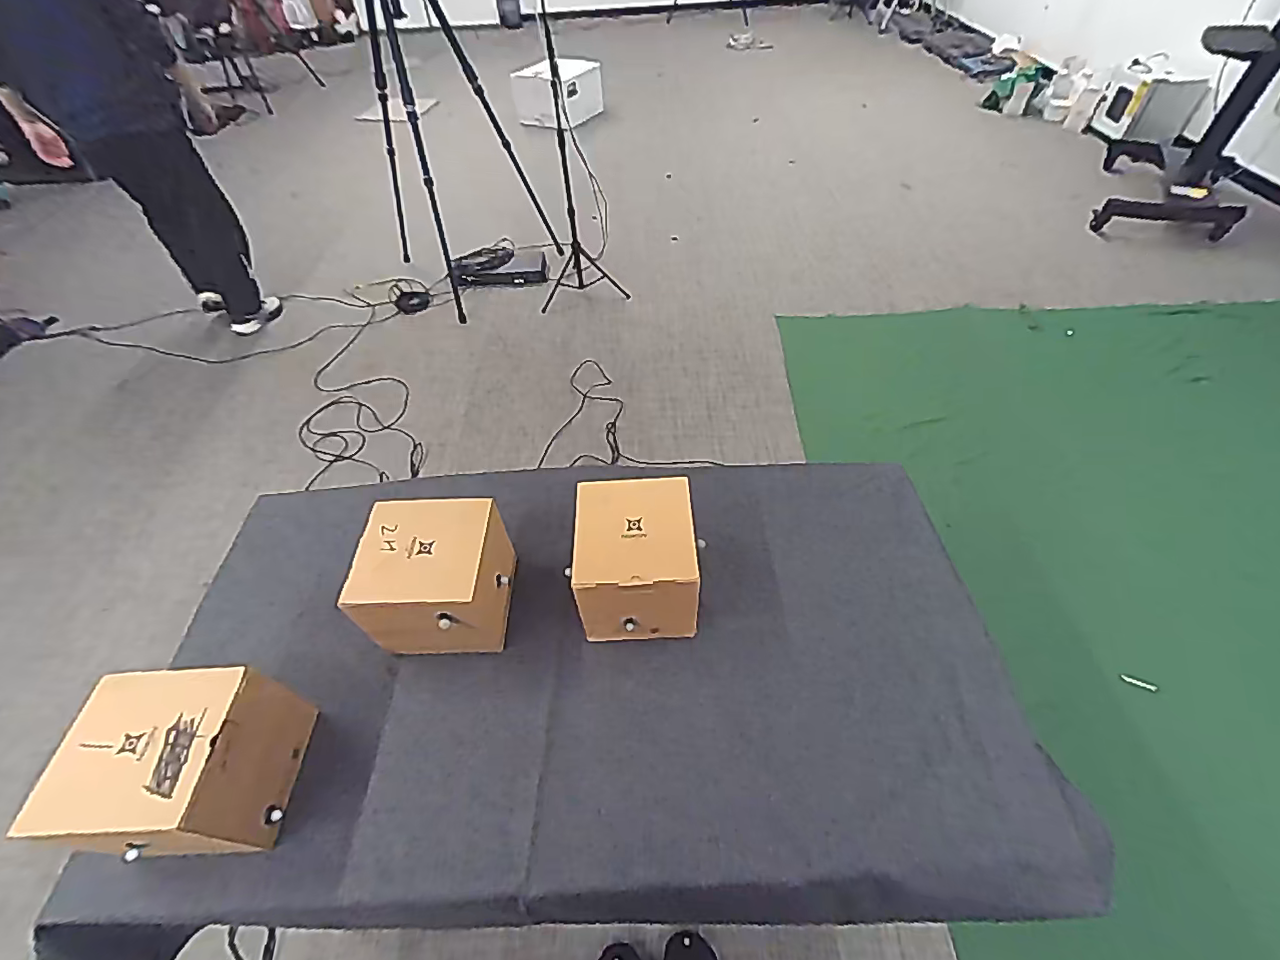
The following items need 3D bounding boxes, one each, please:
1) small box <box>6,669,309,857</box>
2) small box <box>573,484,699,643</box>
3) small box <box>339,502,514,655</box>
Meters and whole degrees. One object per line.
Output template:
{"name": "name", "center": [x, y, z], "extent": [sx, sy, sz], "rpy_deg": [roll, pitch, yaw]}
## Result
{"name": "small box", "center": [-0.539, 0.338, 0.643], "extent": [0.179, 0.176, 0.168], "rpy_deg": [-3, 49, 1]}
{"name": "small box", "center": [-0.005, 0.125, 0.806], "extent": [0.168, 0.176, 0.179], "rpy_deg": [-2, 50, 0]}
{"name": "small box", "center": [-0.294, 0.148, 0.794], "extent": [0.179, 0.176, 0.168], "rpy_deg": [-1, 50, 1]}
